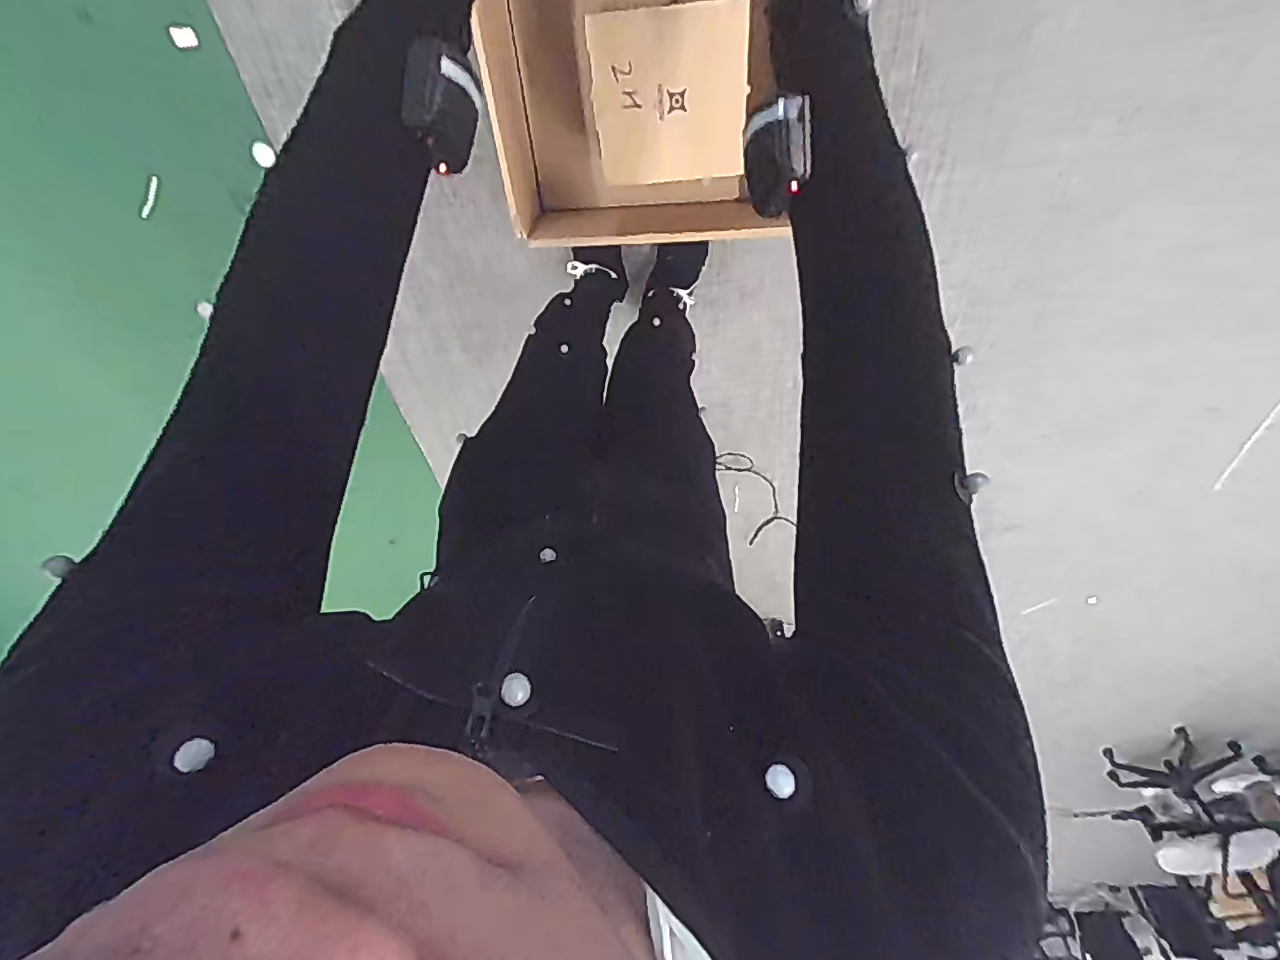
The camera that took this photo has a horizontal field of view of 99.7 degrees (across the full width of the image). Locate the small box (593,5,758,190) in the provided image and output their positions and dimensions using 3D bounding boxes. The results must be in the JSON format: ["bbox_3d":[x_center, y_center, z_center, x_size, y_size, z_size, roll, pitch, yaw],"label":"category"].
[{"bbox_3d":[0.040,-0.477,0.673,0.179,0.176,0.168,-3,131,3],"label":"small box"}]
